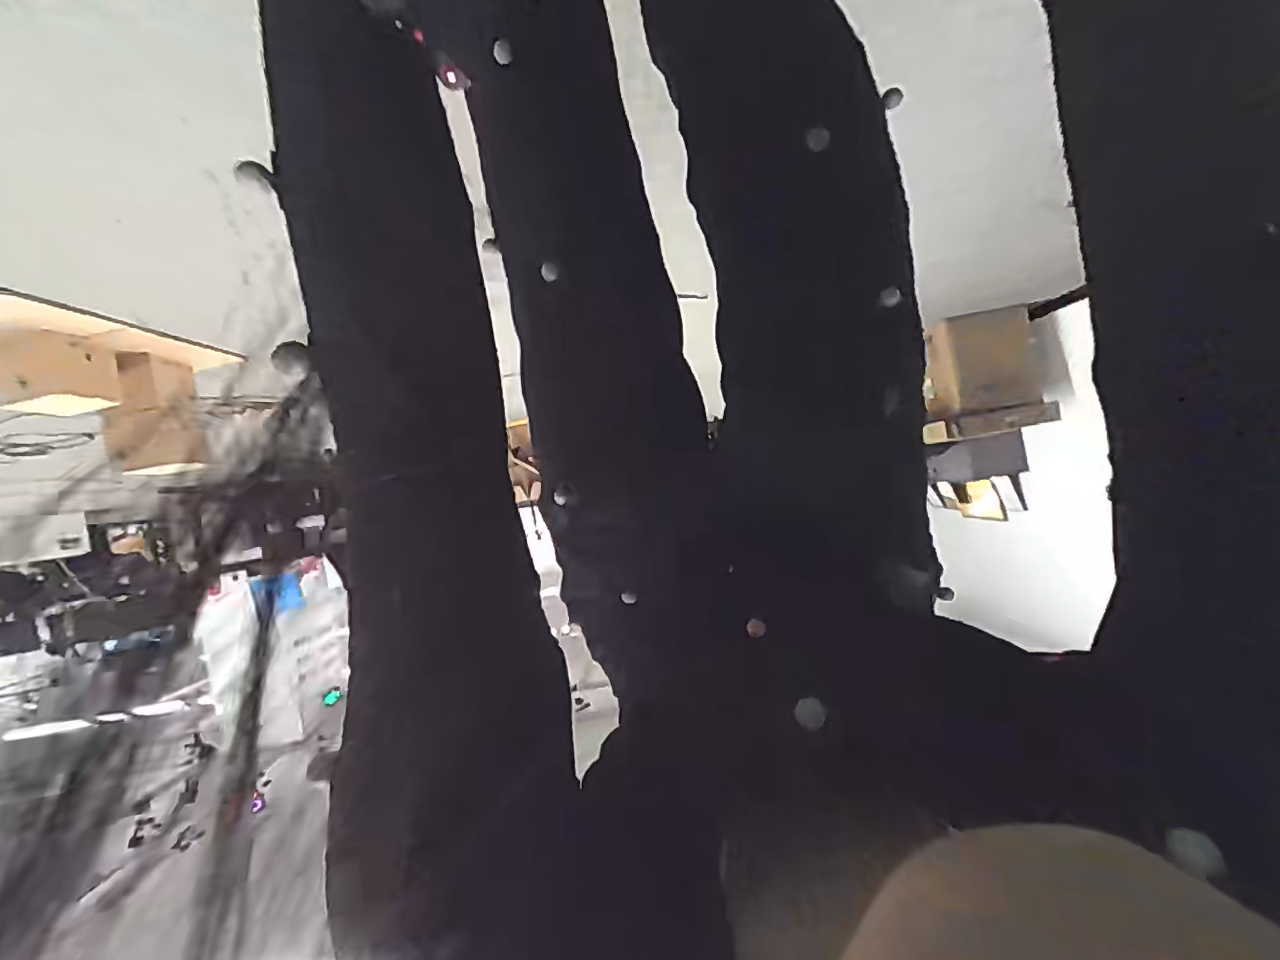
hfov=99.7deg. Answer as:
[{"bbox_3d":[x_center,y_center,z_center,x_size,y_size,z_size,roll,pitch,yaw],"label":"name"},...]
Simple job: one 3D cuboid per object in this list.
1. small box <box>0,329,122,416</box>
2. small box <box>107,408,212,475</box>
[{"bbox_3d":[-1.514,-0.275,1.402,0.179,0.176,0.168,-12,179,4],"label":"small box"},{"bbox_3d":[-1.465,-0.114,1.647,0.179,0.176,0.168,-11,-179,-1],"label":"small box"}]
